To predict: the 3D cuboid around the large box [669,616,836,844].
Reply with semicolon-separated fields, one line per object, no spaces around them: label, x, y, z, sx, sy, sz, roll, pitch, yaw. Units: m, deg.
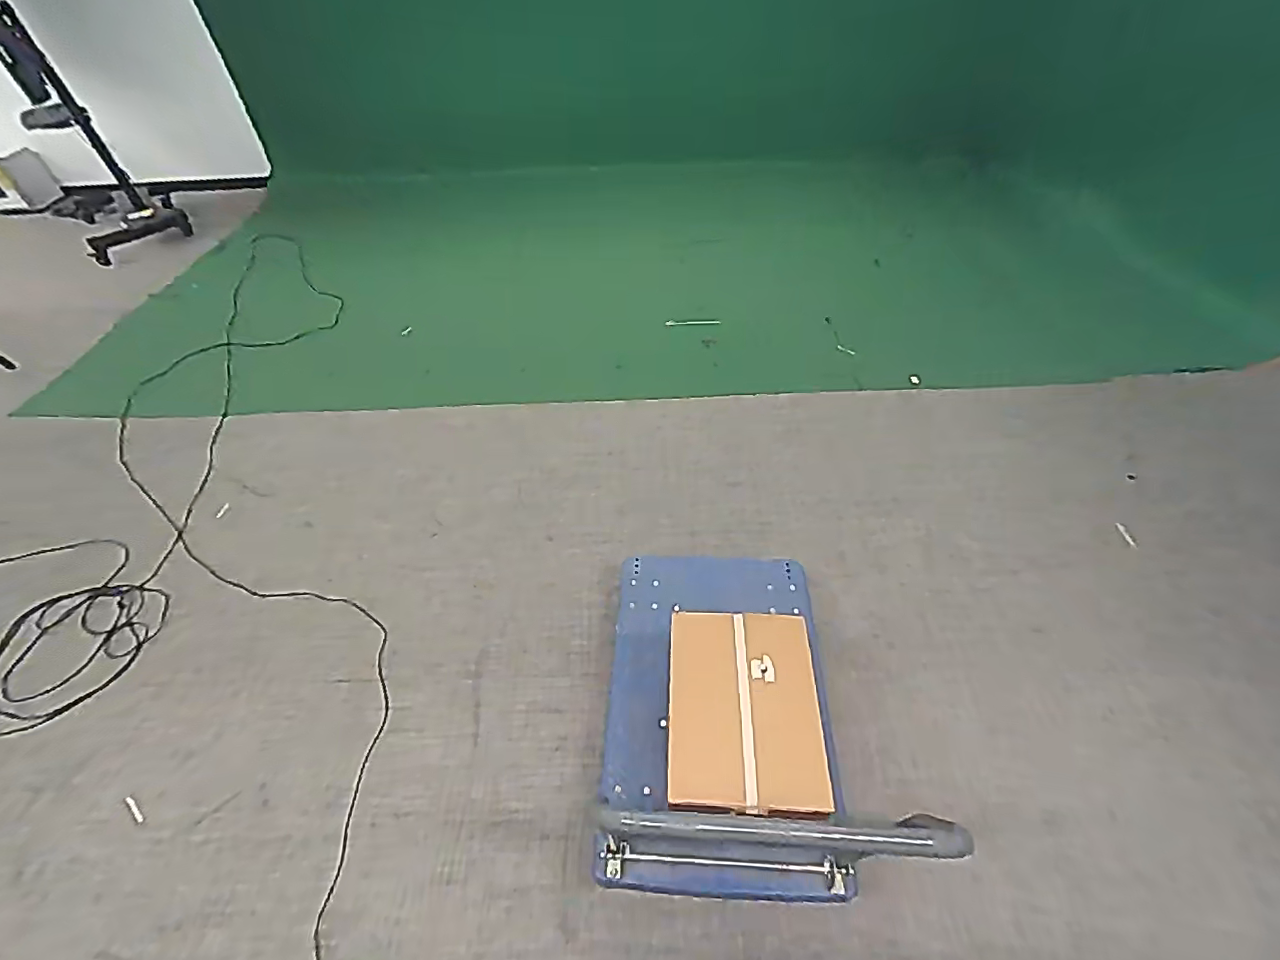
large box;0.224;0.574;1.247;0.320;0.320;0.408;1;46;3
